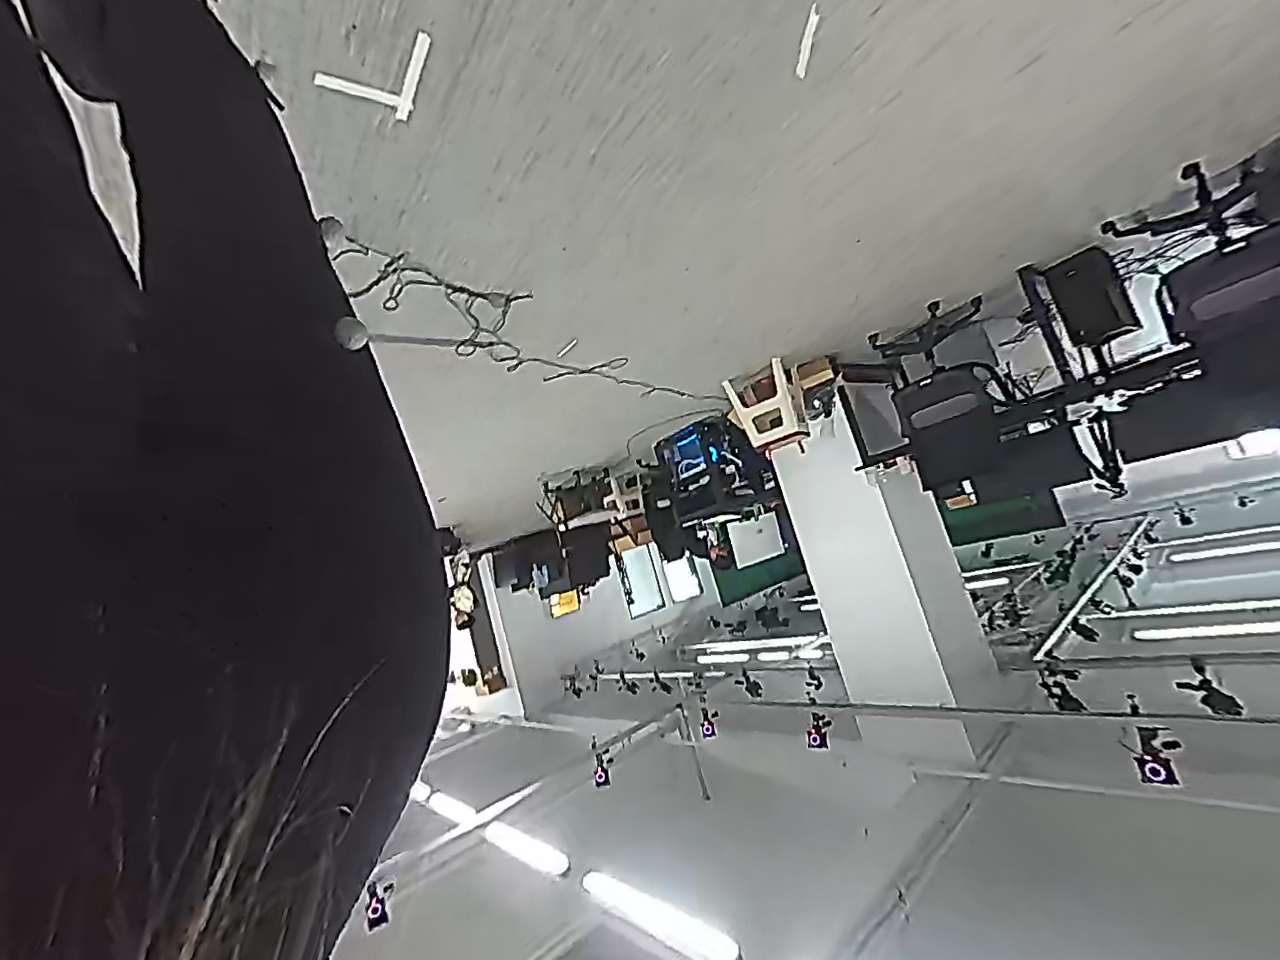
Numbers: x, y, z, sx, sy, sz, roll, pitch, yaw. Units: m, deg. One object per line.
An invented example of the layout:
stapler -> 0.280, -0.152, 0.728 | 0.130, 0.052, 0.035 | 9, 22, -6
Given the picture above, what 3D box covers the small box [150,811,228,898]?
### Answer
small box -> -1.537, 1.262, 1.837 | 0.179, 0.176, 0.168 | -11, 171, -46
